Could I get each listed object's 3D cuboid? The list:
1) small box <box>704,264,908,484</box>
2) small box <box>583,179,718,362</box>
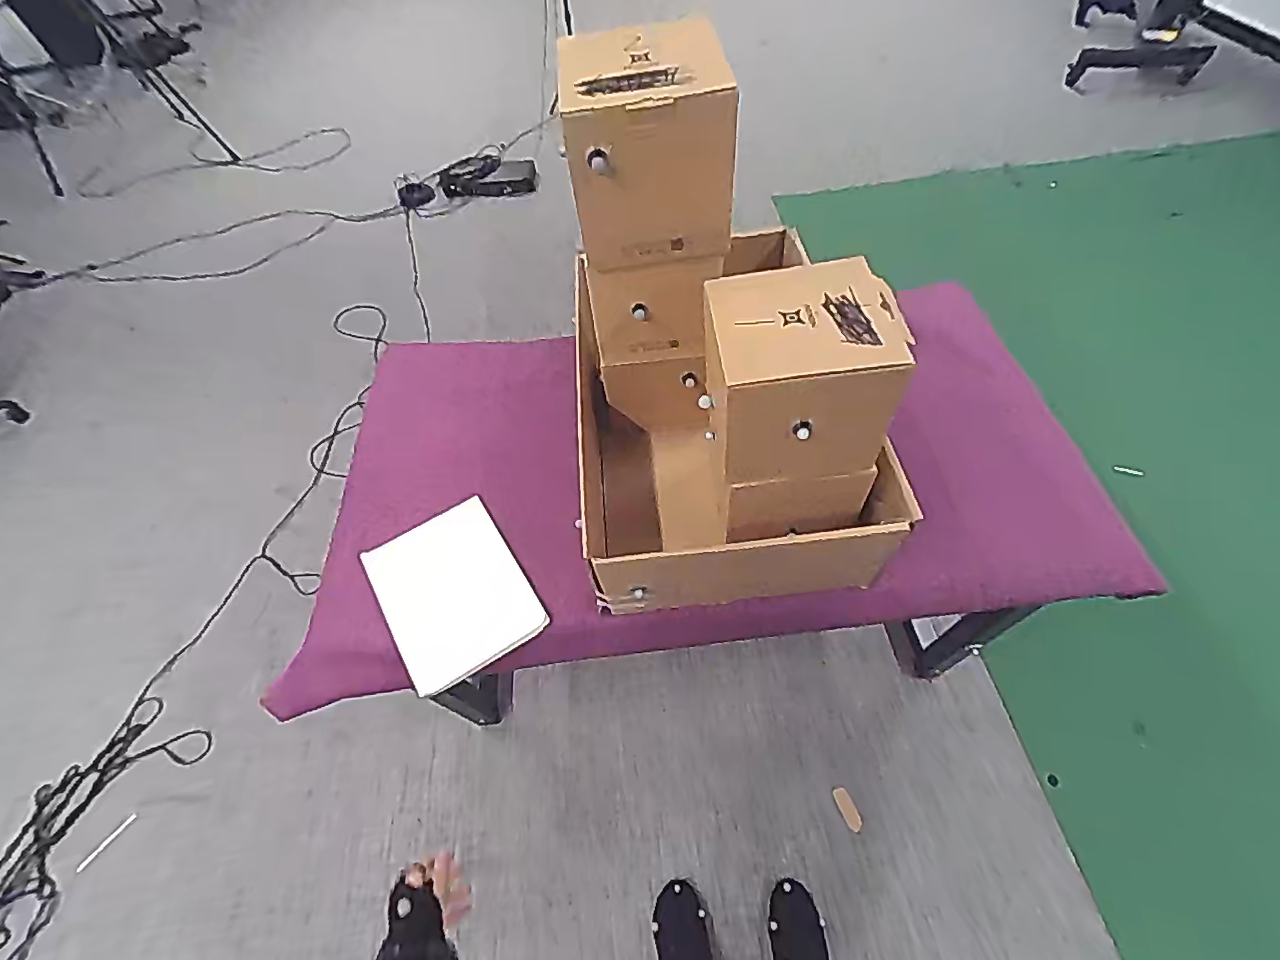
[{"bbox_3d":[0.167,-0.113,0.611,0.179,0.176,0.168,-7,54,4],"label":"small box"},{"bbox_3d":[0.016,-0.280,0.749,0.168,0.176,0.179,-5,57,2],"label":"small box"}]
